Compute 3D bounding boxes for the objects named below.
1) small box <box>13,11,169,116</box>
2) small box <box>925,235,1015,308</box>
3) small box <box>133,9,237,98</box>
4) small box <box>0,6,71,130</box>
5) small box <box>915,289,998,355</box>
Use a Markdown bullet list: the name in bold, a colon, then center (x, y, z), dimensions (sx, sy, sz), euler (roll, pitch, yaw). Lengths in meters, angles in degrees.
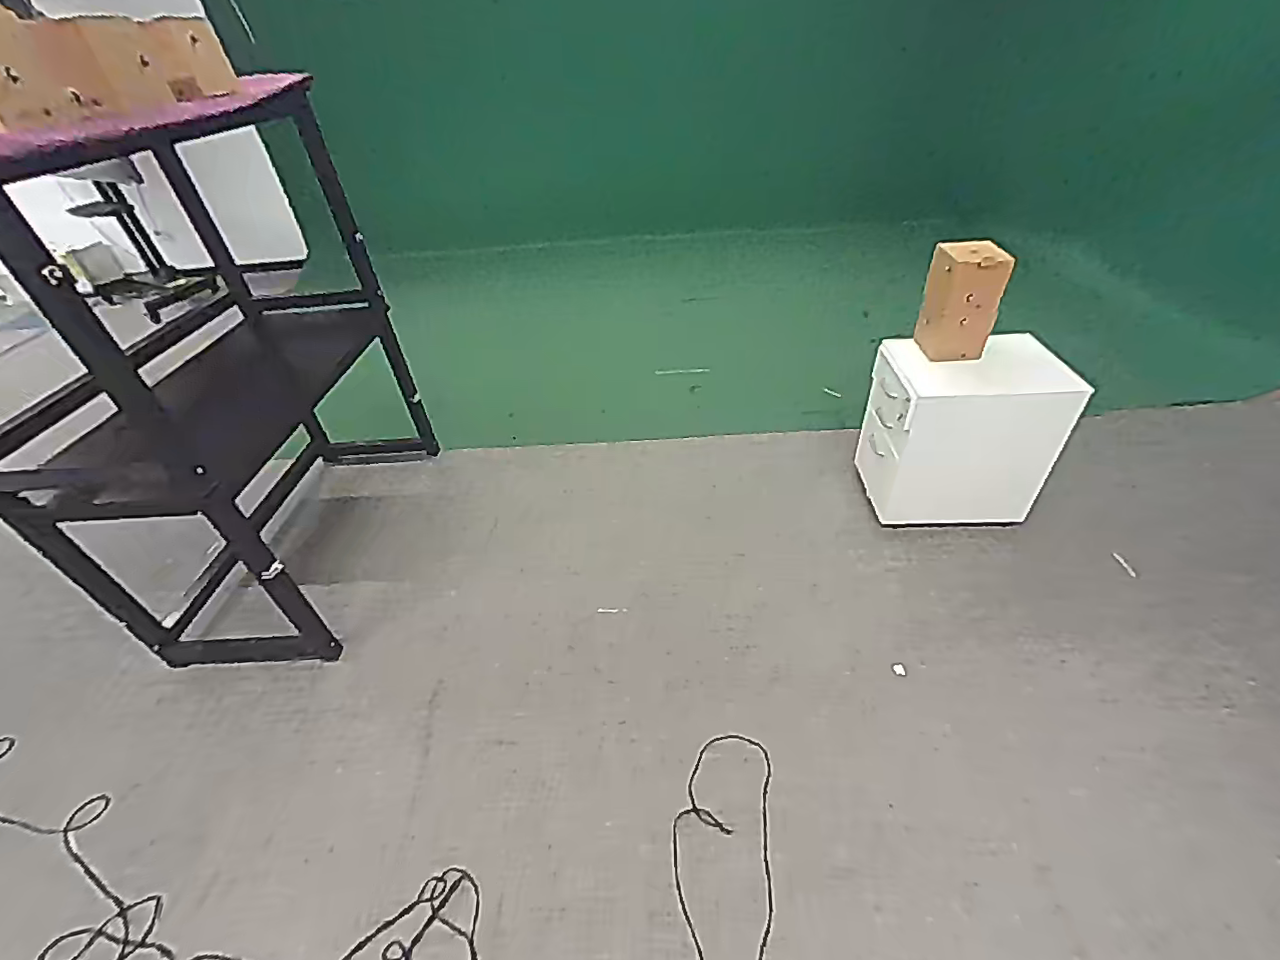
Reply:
- **small box**: center (-1.214, -0.926, 1.205), dimensions (0.168, 0.176, 0.179), euler (-5, 41, 2)
- **small box**: center (1.035, -0.661, 1.713), dimensions (0.168, 0.176, 0.179), euler (-2, 42, 4)
- **small box**: center (-1.241, -1.136, 1.449), dimensions (0.168, 0.176, 0.179), euler (-4, 41, 6)
- **small box**: center (-1.182, -0.709, 0.941), dimensions (0.179, 0.176, 0.168), euler (-4, 39, 1)
- **small box**: center (1.052, -0.535, 1.817), dimensions (0.168, 0.176, 0.179), euler (-2, 41, 4)
